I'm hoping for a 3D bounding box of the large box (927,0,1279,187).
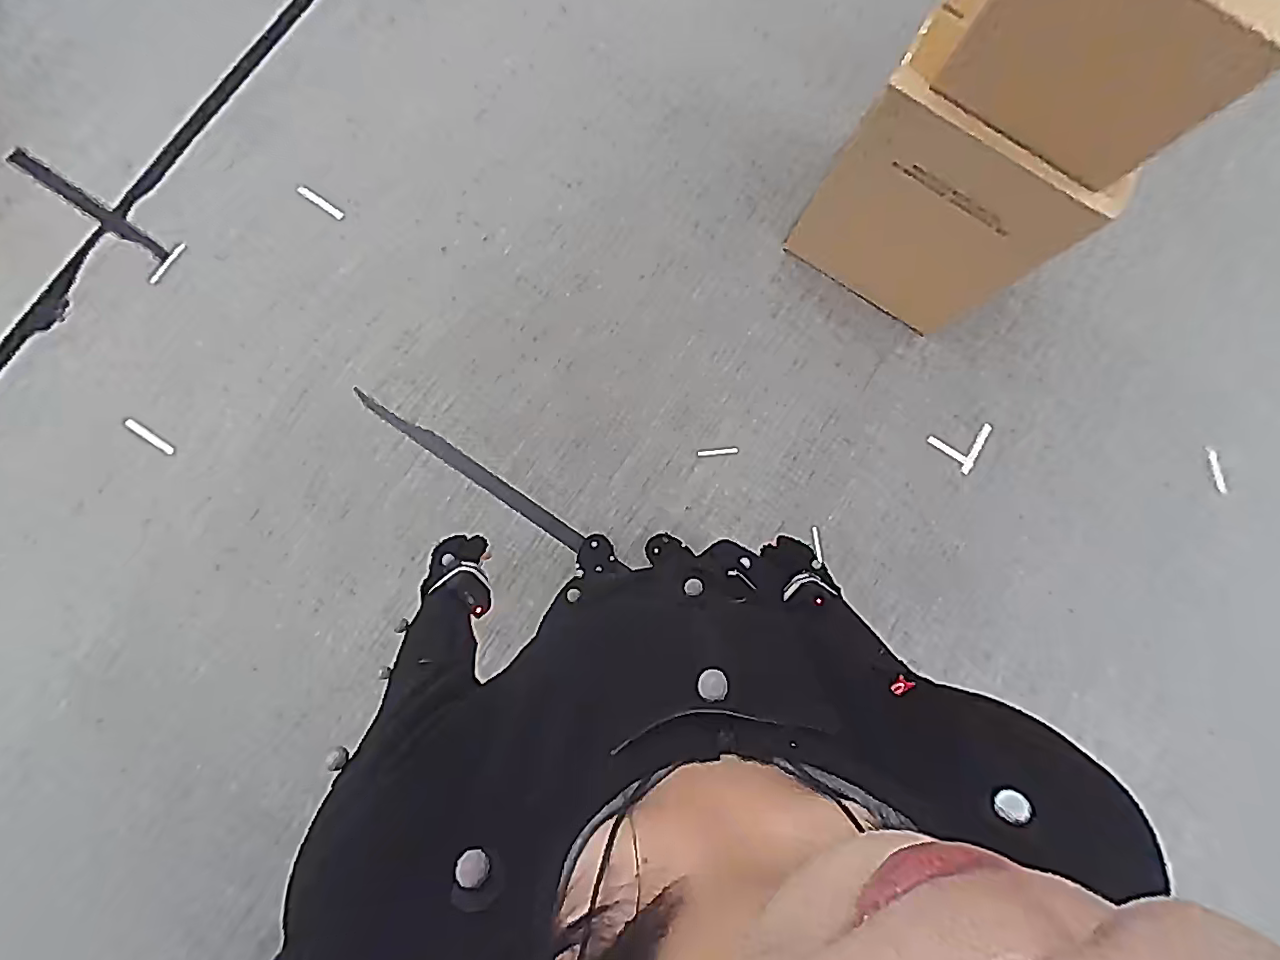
[{"bbox_3d":[0.813,-0.816,0.940,0.408,0.320,0.320,31,83,-1],"label":"large box"}]
